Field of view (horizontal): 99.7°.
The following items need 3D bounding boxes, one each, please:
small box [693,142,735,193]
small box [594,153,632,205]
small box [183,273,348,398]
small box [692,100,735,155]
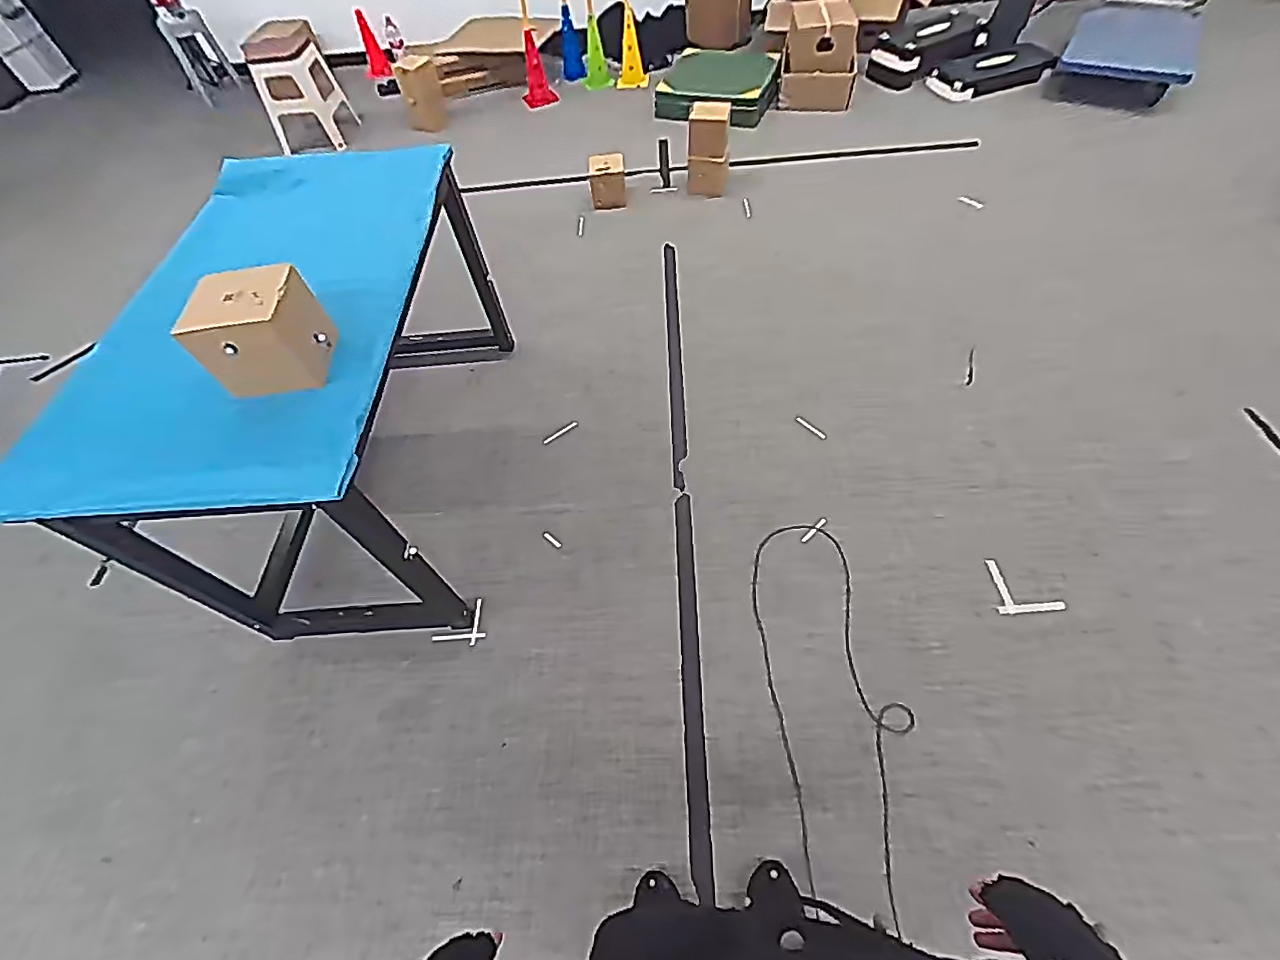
[{"bbox_3d":[0.358,-1.531,2.643,0.179,0.176,0.168,11,58,11],"label":"small box"},{"bbox_3d":[-0.132,-1.470,2.652,0.168,0.176,0.179,-5,55,3],"label":"small box"},{"bbox_3d":[-0.707,-0.273,1.045,0.179,0.176,0.168,-5,57,1],"label":"small box"},{"bbox_3d":[0.341,-1.644,2.522,0.179,0.176,0.168,9,58,10],"label":"small box"}]
